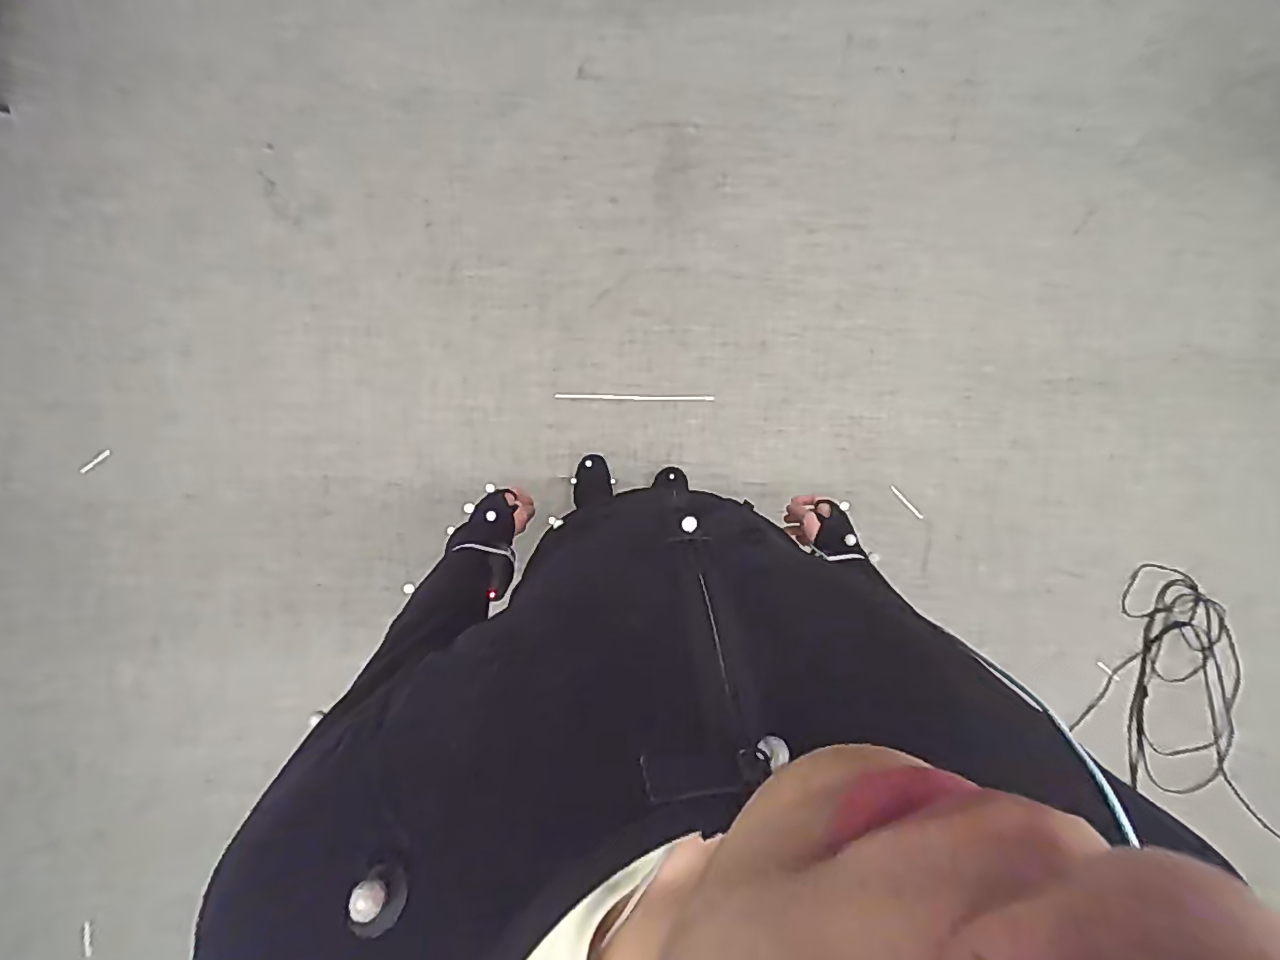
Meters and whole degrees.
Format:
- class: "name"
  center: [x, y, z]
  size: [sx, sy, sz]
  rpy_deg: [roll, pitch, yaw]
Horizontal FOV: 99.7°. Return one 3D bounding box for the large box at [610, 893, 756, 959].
- class: "large box"
  center: [0.122, 1.456, 1.545]
  size: [0.408, 0.320, 0.320]
  rpy_deg: [-1, 91, -2]
